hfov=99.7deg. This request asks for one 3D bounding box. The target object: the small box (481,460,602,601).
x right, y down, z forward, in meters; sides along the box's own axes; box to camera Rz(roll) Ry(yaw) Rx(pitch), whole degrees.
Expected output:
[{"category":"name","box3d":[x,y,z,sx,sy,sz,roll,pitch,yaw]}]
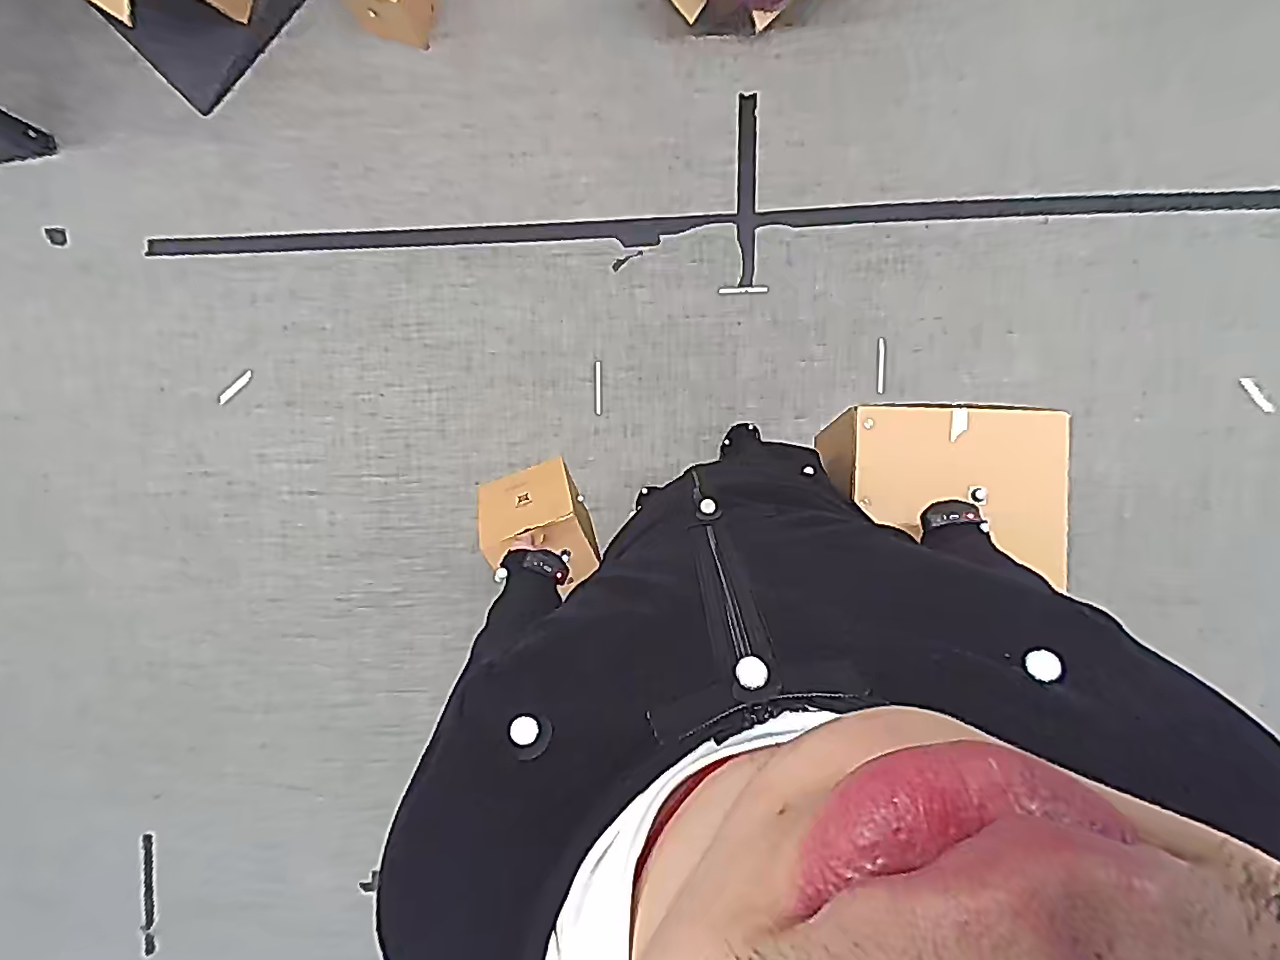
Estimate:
[{"category":"small box","box3d":[-0.179,0.099,0.993,0.168,0.179,0.176,-20,127,-1]}]
